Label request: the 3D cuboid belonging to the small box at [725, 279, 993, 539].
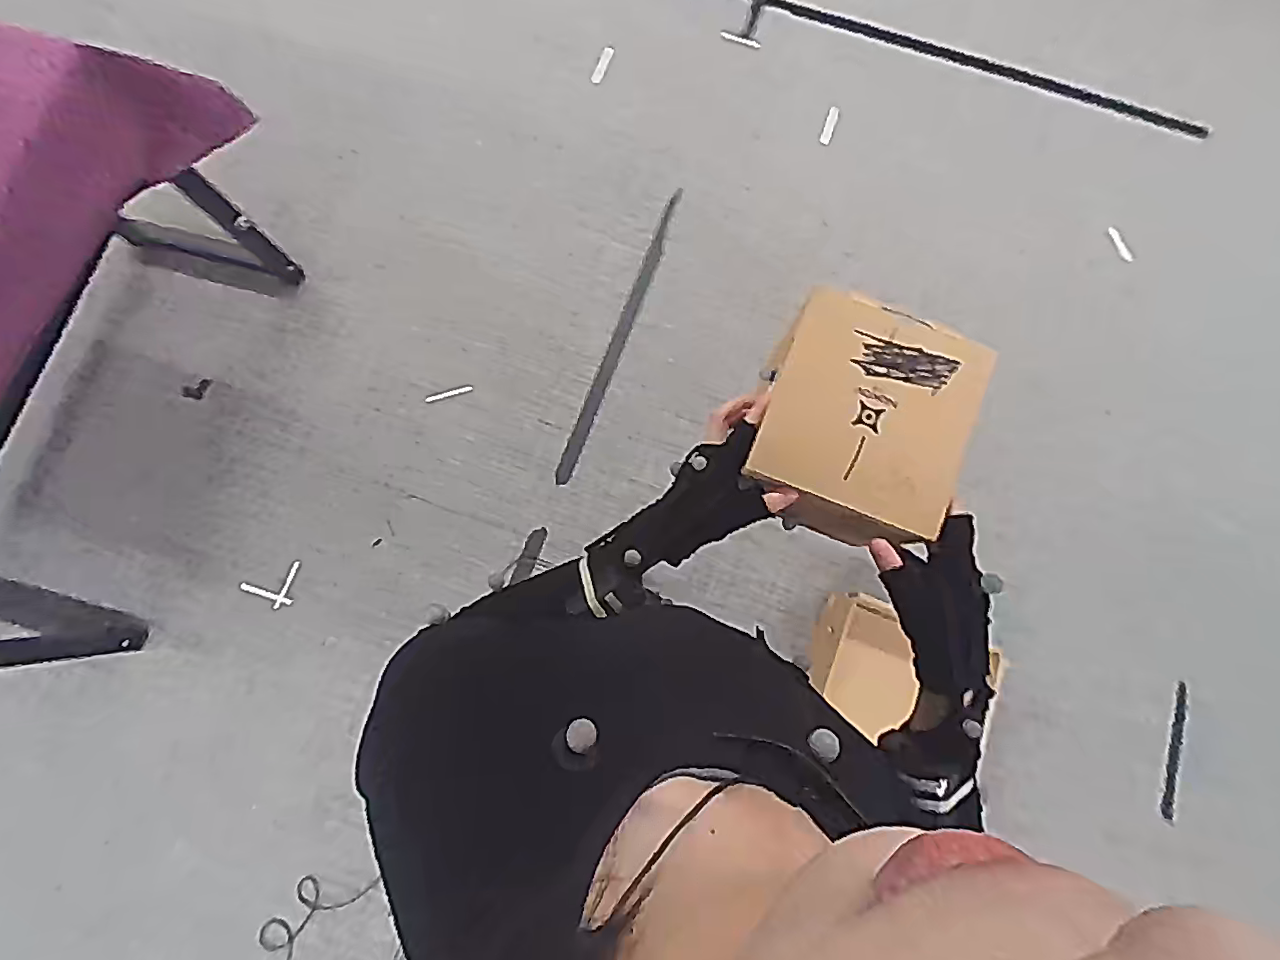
[{"bbox_3d":[0.193,-0.053,0.528,0.168,0.176,0.179,22,82,4],"label":"small box"}]
